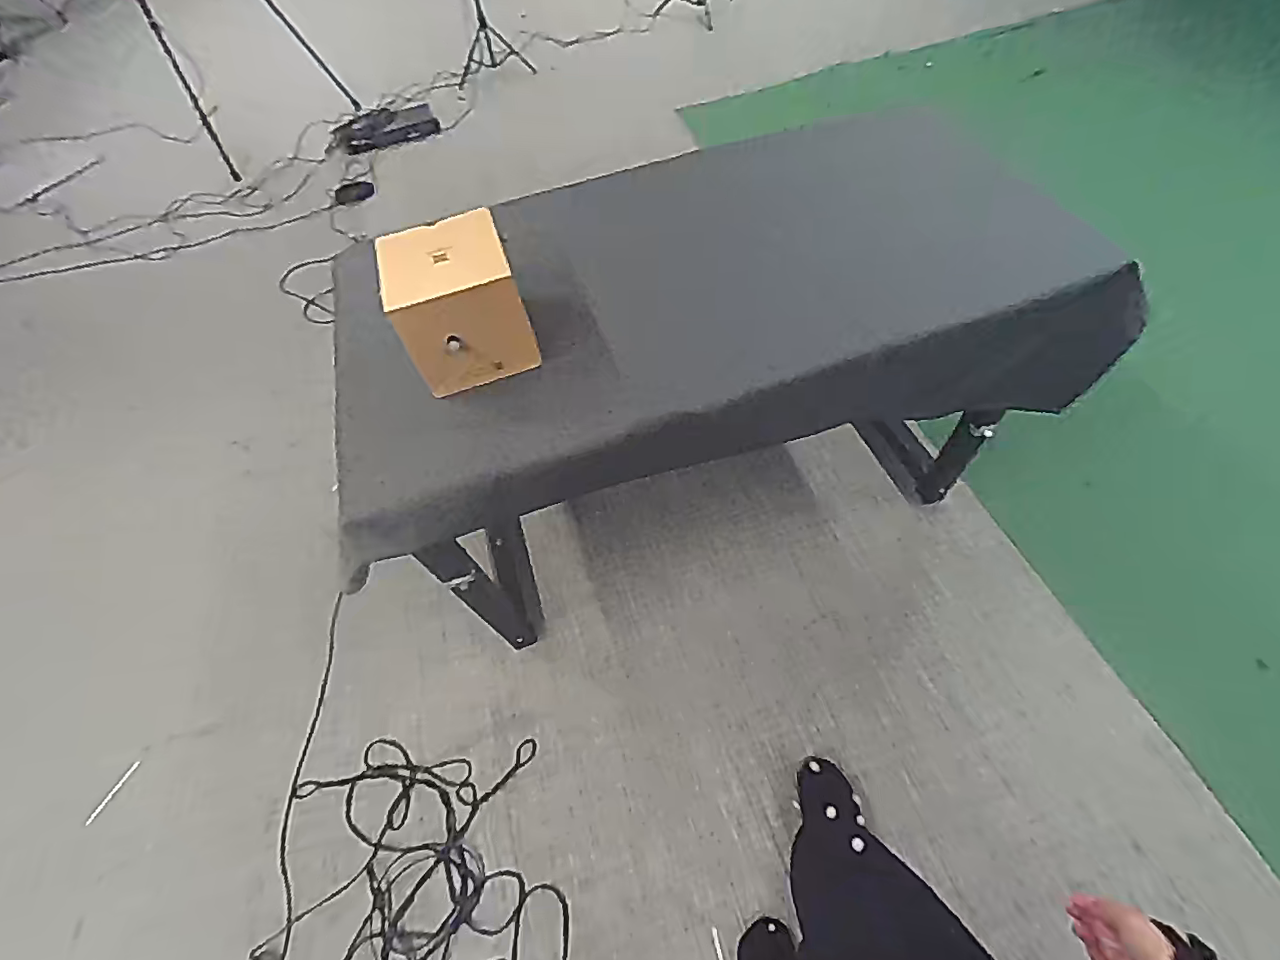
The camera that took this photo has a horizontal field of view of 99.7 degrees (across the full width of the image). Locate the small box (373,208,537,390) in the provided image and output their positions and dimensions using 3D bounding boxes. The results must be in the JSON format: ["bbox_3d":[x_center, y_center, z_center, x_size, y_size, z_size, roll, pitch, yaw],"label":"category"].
[{"bbox_3d":[-0.263,-0.254,0.790,0.168,0.176,0.179,-20,56,-6],"label":"small box"}]
